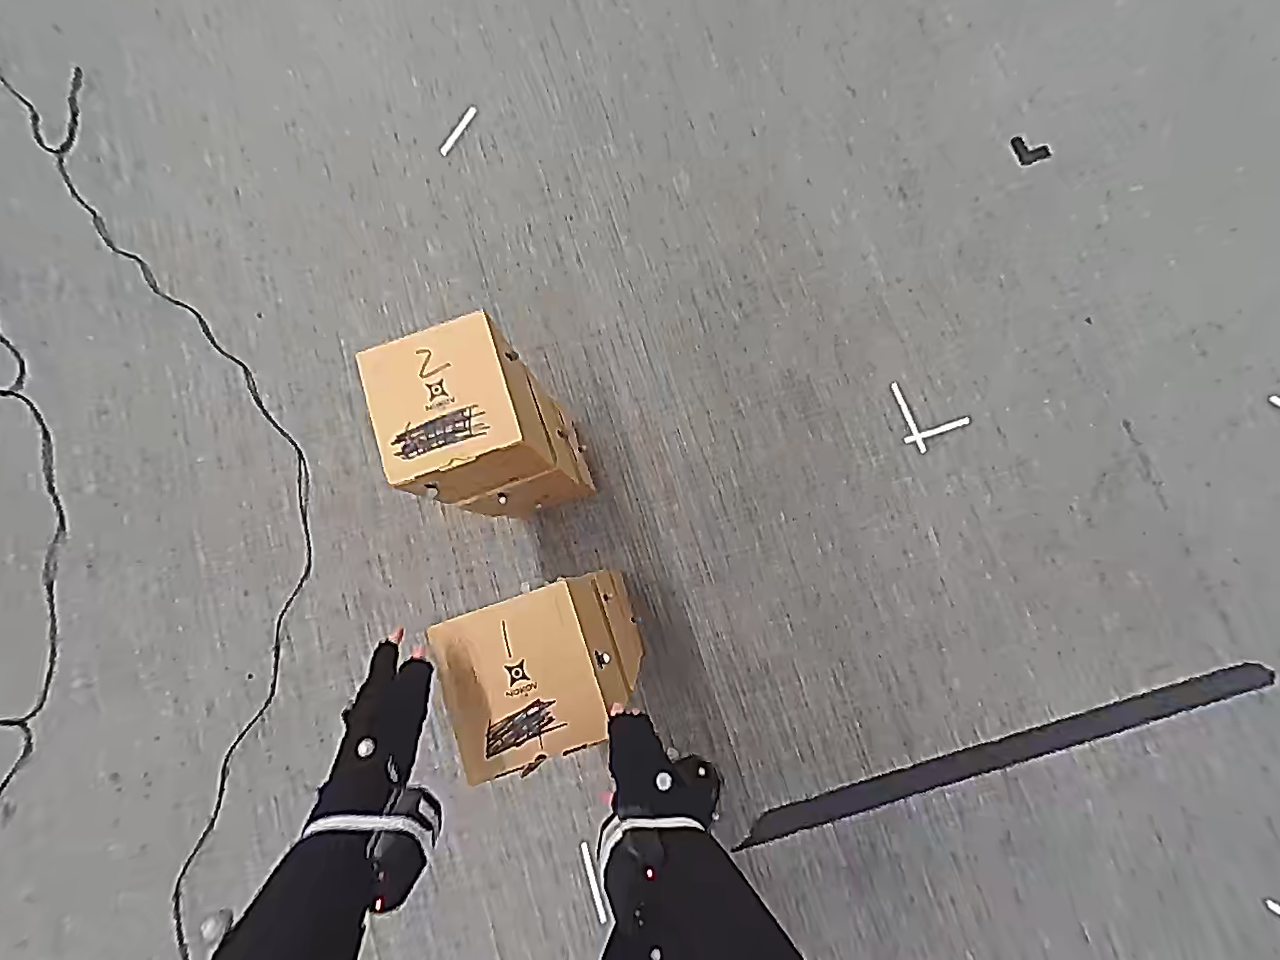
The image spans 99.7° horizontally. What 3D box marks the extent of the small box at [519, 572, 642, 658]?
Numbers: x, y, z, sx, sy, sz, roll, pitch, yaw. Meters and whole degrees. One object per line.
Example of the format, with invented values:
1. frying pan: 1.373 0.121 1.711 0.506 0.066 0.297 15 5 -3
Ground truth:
1. small box: -0.101 0.269 0.984 0.179 0.176 0.168 -16 81 0

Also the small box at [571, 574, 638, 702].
1. small box: -0.107 0.252 0.823 0.168 0.176 0.179 -20 81 1

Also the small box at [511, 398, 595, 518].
1. small box: -0.200 -0.032 1.035 0.179 0.176 0.168 -20 81 0

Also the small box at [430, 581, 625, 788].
1. small box: -0.123 0.232 0.661 0.168 0.176 0.179 -19 80 1

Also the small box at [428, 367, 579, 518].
1. small box: -0.210 -0.051 0.872 0.168 0.176 0.179 -20 80 1
